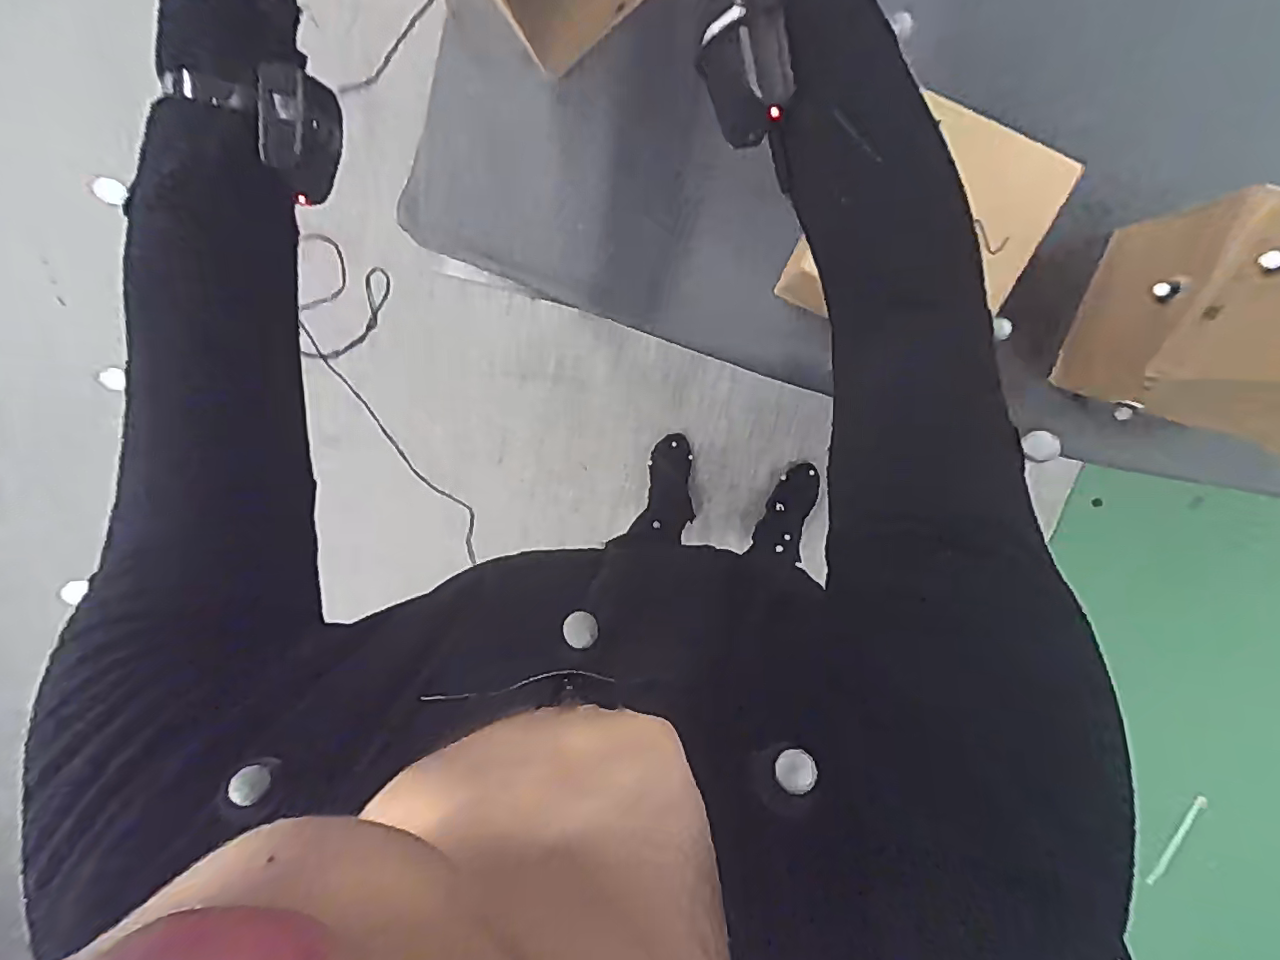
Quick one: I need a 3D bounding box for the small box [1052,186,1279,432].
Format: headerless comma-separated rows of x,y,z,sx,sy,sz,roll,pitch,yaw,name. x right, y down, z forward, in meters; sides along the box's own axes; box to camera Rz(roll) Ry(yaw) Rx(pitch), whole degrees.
0.558,-0.150,0.528,0.168,0.176,0.179,17,104,5,small box

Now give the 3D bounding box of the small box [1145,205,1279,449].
0.534,-0.103,0.373,0.179,0.176,0.168,27,104,2,small box

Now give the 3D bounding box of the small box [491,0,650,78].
-0.096,-0.550,0.520,0.168,0.176,0.179,-34,97,13,small box
